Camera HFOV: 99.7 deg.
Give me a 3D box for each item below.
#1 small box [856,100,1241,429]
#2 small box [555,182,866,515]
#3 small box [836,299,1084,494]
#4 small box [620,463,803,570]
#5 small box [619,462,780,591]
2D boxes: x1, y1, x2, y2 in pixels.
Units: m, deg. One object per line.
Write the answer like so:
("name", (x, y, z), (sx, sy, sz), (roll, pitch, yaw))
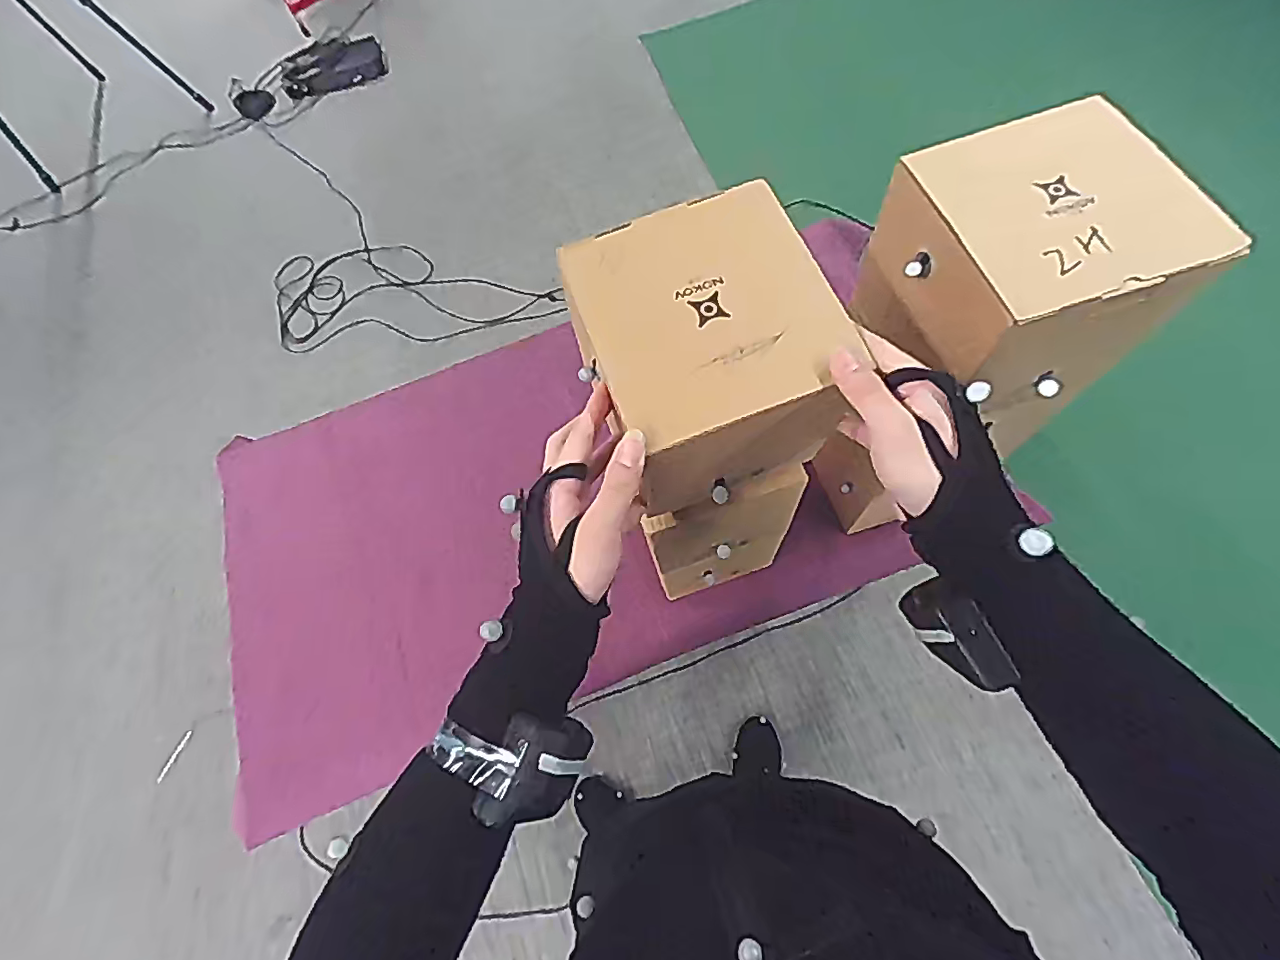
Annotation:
("small box", (0.311, -0.172, 0.467), (0.168, 0.176, 0.179), (-17, 67, 1))
("small box", (0.045, -0.092, 0.442), (0.168, 0.176, 0.179), (-20, 72, -3))
("small box", (0.331, -0.108, 0.618), (0.168, 0.176, 0.179), (-17, 66, 1))
("small box", (0.064, -0.018, 0.618), (0.168, 0.176, 0.179), (-19, 66, 0))
("small box", (0.083, 0.047, 0.768), (0.168, 0.176, 0.179), (-19, 66, -1))
